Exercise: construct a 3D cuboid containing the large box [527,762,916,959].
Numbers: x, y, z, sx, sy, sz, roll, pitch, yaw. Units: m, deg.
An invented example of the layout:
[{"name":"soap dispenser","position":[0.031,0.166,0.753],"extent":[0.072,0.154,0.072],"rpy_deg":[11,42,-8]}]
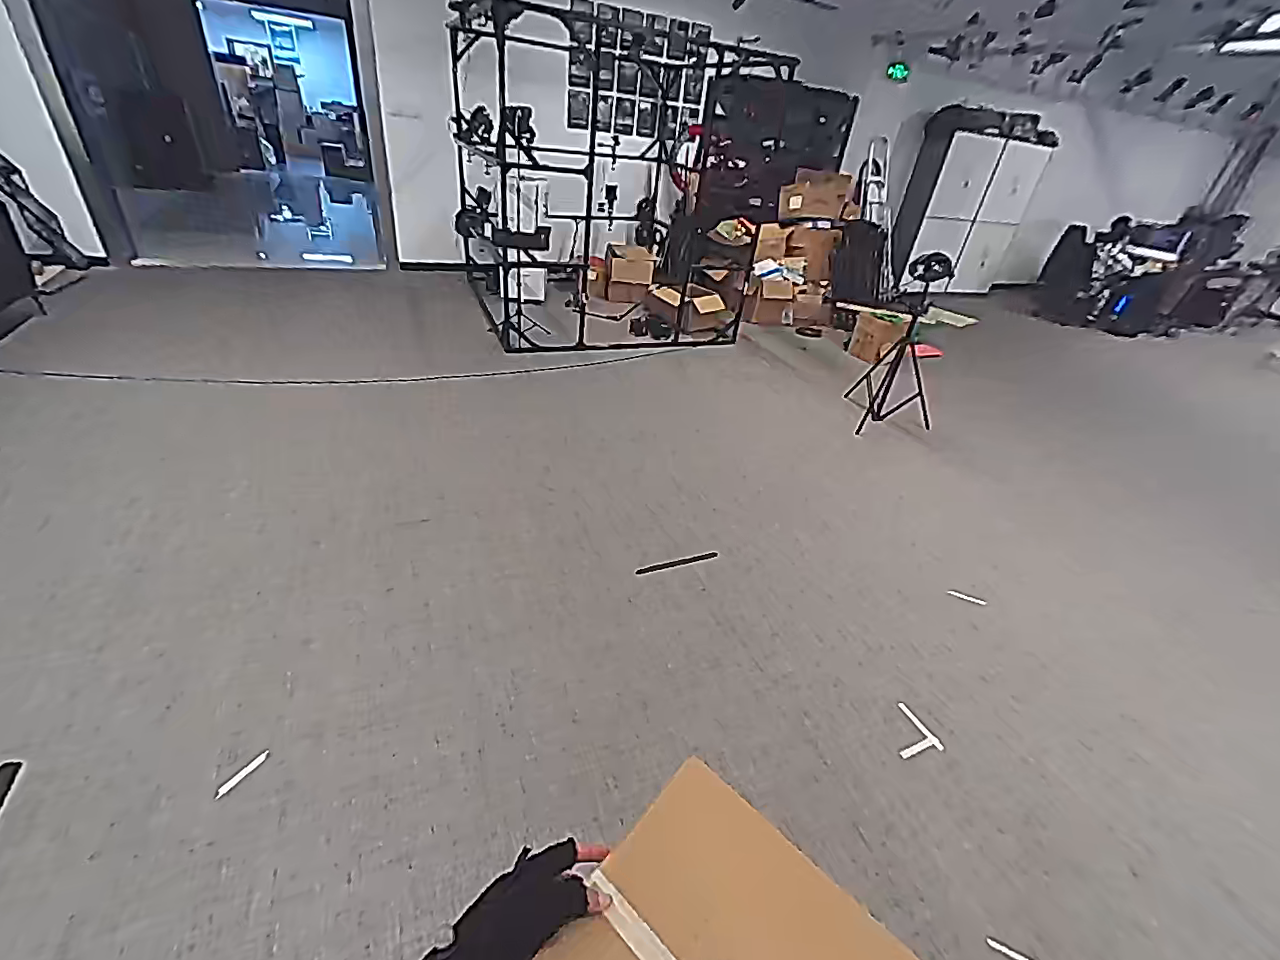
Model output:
[{"name":"large box","position":[0.089,0.585,0.522],"extent":[0.408,0.320,0.320],"rpy_deg":[33,48,28]}]
